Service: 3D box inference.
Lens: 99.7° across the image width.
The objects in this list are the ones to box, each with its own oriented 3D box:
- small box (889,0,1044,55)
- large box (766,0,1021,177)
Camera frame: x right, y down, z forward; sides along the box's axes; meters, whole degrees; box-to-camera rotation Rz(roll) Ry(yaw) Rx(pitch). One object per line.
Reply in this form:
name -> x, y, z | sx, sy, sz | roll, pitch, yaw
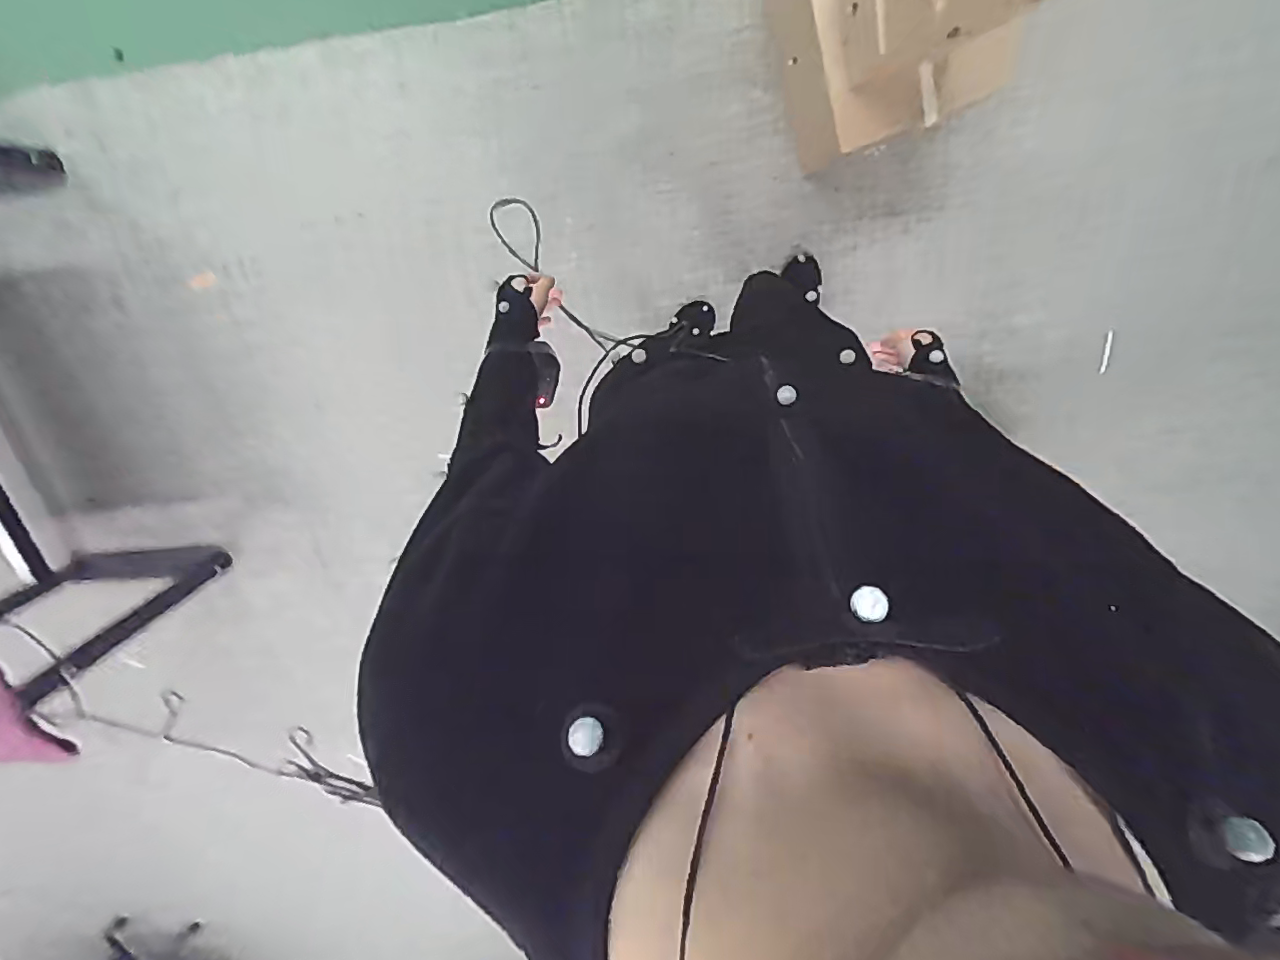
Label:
small box -> 0.417, -0.671, 0.664 | 0.168, 0.176, 0.179 | -11, 113, 8
large box -> 0.450, -0.863, 1.024 | 0.320, 0.320, 0.408 | -18, 110, 9
